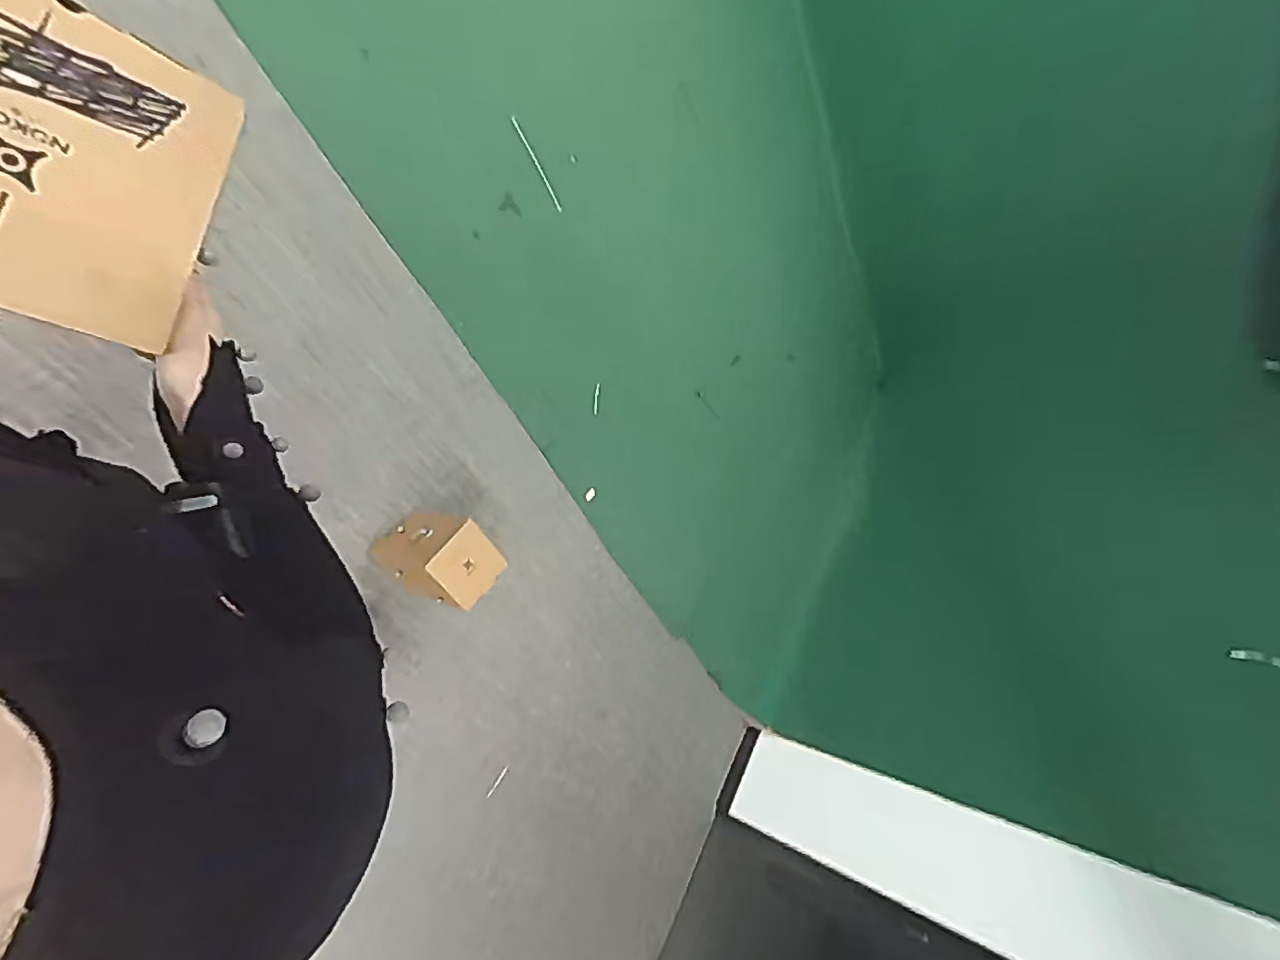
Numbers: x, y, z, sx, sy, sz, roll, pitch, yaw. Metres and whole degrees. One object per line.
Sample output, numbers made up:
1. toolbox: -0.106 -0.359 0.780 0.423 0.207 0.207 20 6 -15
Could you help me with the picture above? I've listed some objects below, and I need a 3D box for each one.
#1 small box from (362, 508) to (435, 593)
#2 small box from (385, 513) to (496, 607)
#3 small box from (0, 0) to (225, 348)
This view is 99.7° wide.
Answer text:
1. small box: -0.640 0.192 1.521 0.168 0.176 0.179 -49 126 -34
2. small box: -0.520 0.201 1.411 0.168 0.176 0.179 -54 128 -33
3. small box: -0.405 -0.204 0.347 0.168 0.176 0.179 19 91 -47
